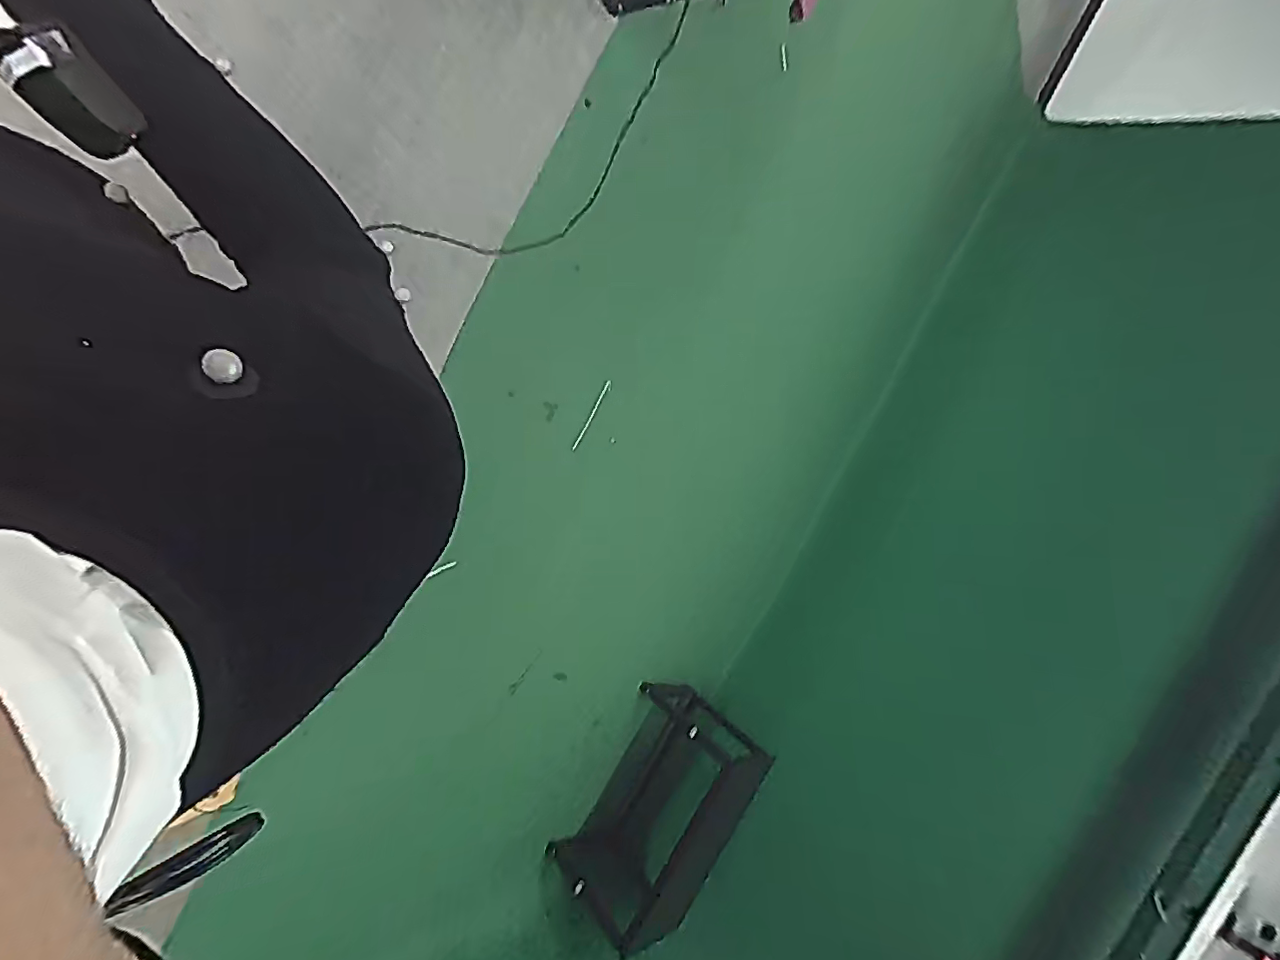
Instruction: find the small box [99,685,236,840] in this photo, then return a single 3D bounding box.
[{"bbox_3d":[-0.926,0.540,1.063,0.179,0.176,0.168,-11,121,-43],"label":"small box"}]
